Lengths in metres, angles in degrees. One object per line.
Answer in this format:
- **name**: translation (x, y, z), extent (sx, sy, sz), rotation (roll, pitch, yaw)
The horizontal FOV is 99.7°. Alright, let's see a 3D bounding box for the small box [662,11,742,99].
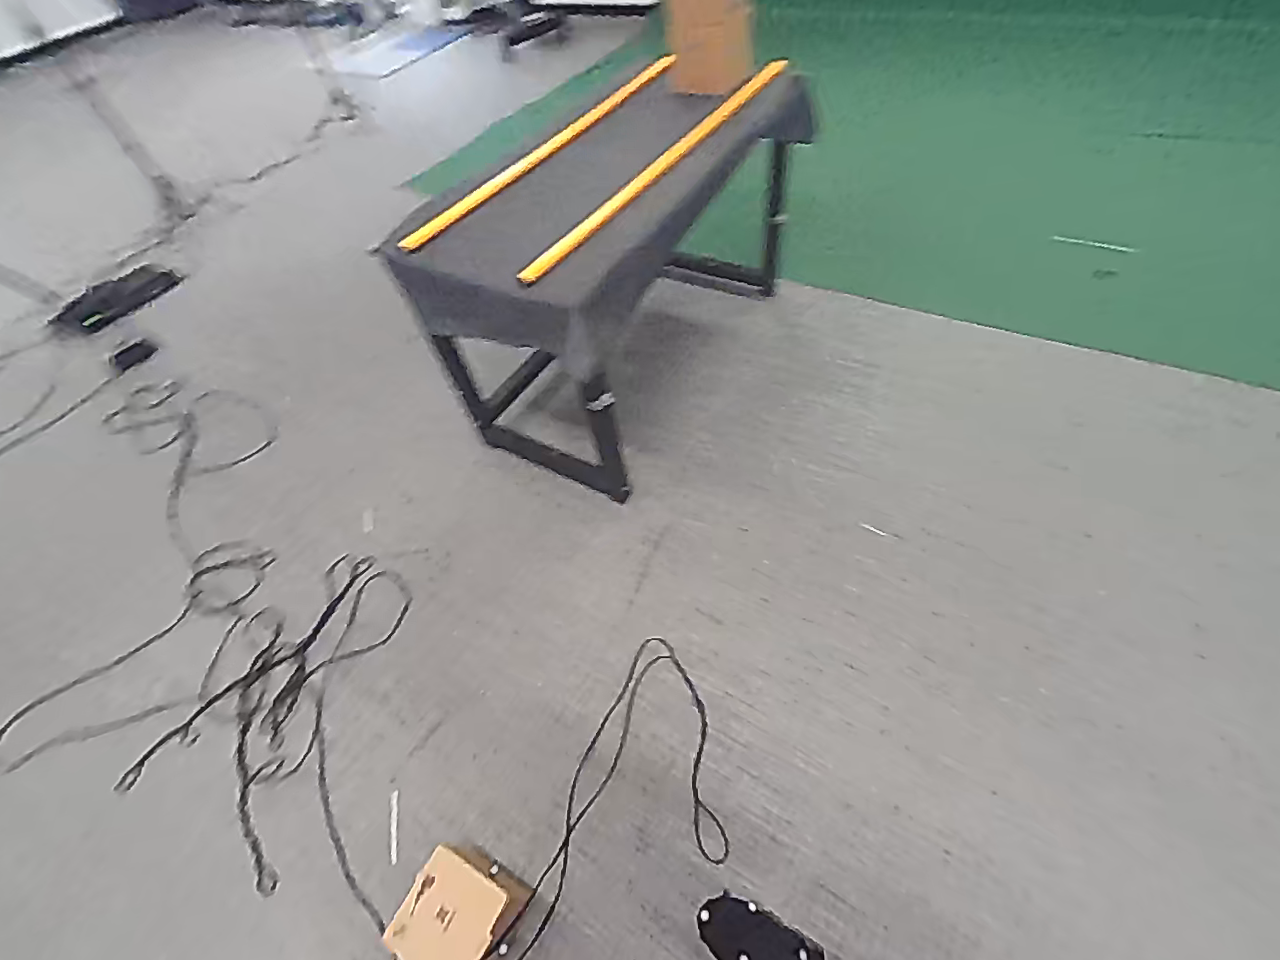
- **small box**: translation (0.187, -1.253, 1.594), extent (0.179, 0.176, 0.168), rotation (23, 61, 24)

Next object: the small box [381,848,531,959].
- **small box**: translation (-0.333, 0.827, 1.017), extent (0.179, 0.176, 0.168), rotation (19, 58, 21)
